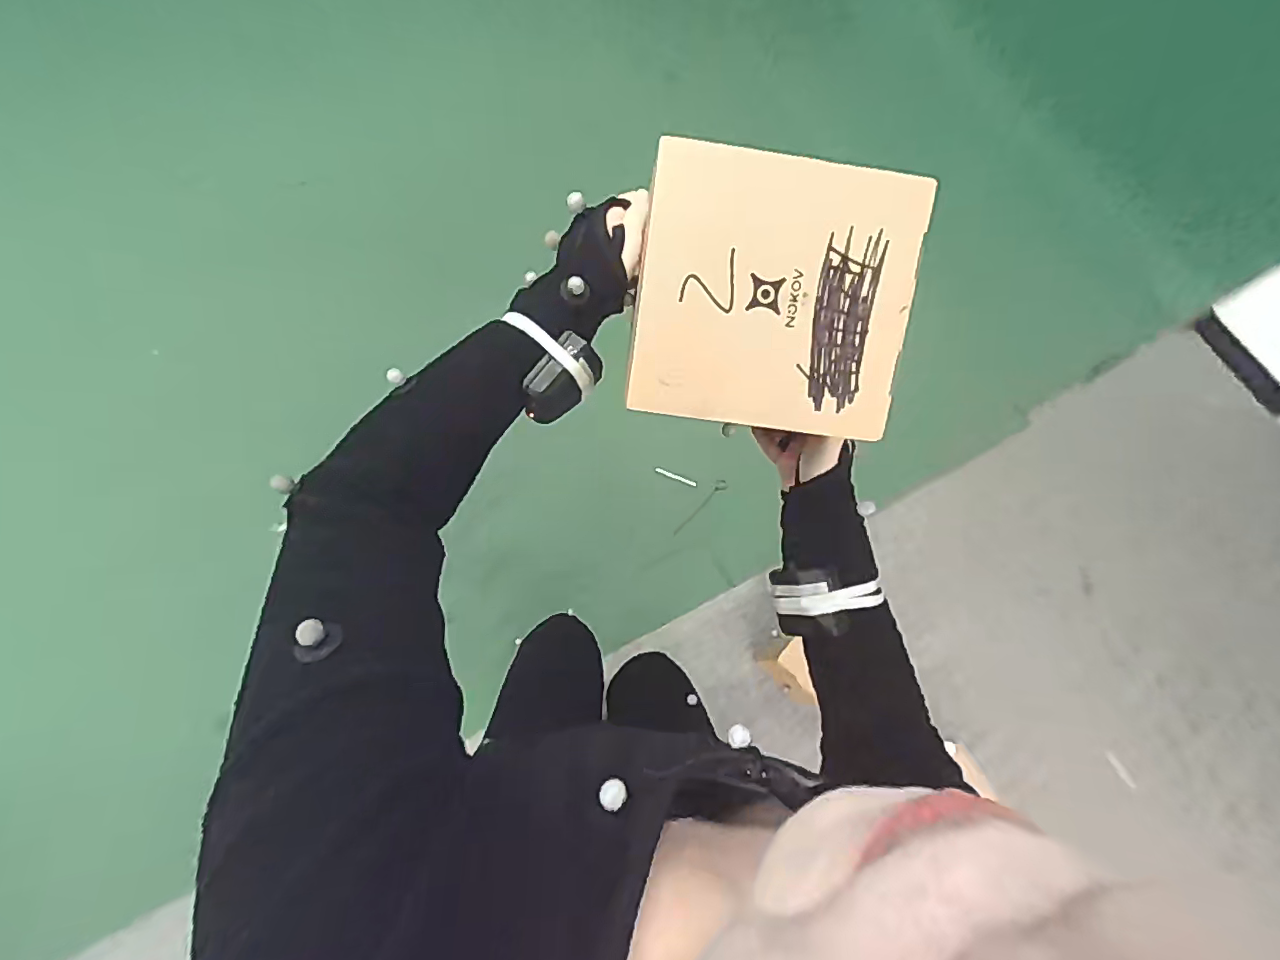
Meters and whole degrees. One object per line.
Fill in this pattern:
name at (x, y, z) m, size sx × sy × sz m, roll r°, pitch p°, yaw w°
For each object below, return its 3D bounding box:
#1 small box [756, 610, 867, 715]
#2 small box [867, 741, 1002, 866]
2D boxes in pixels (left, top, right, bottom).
small box at (0.404, 0.445, 1.318) m, size 0.168 × 0.176 × 0.179 m, roll 44°, pitch 70°, yaw 8°
small box at (0.670, 0.734, 1.251) m, size 0.168 × 0.176 × 0.179 m, roll -26°, pitch 76°, yaw -18°
